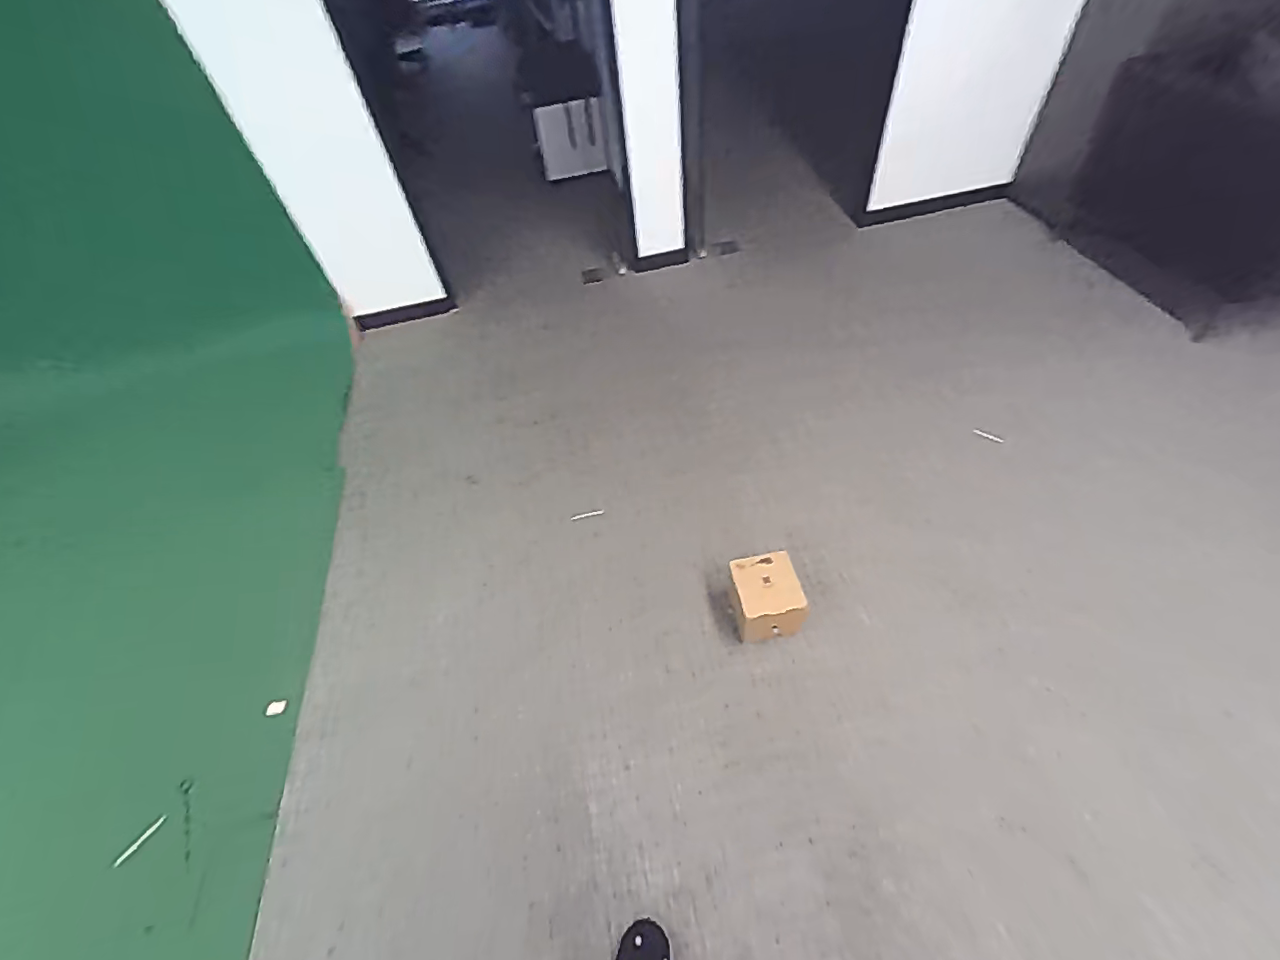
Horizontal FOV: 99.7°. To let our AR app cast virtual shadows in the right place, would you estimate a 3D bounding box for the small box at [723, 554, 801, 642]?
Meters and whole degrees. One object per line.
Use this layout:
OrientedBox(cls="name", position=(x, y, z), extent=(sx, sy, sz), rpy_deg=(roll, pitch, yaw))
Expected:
OrientedBox(cls="small box", position=(0.331, 0.334, 1.496), extent=(0.168, 0.176, 0.179), rpy_deg=(-10, 51, -2))
